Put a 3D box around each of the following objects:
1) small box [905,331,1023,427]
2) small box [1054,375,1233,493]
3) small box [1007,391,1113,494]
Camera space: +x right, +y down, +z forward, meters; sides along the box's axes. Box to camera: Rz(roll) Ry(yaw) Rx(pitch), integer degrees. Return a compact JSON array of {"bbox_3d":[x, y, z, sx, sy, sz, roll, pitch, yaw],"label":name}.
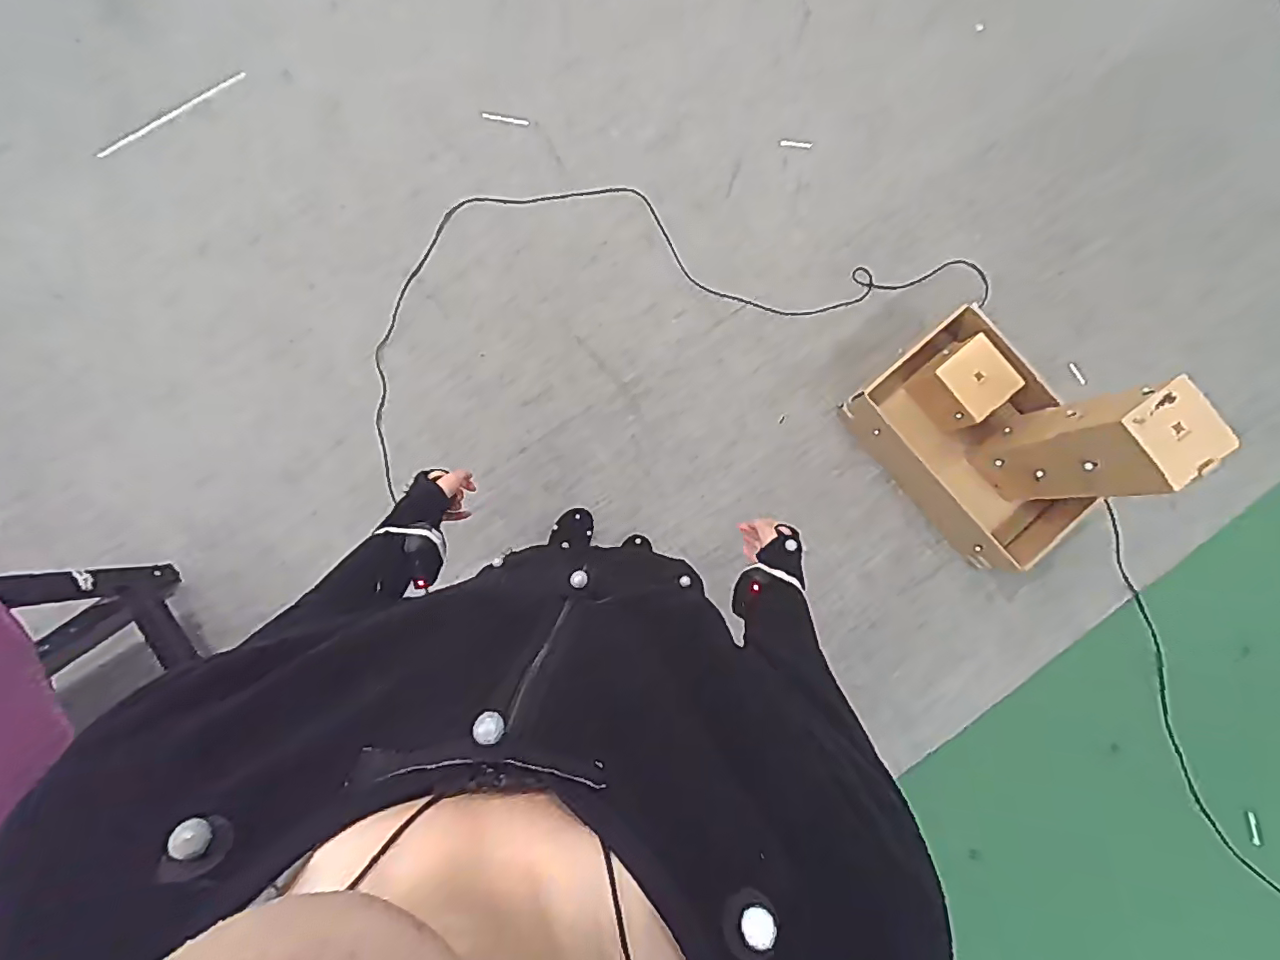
[{"bbox_3d":[0.862,-0.263,1.459,0.168,0.176,0.179,-39,89,-3],"label":"small box"},{"bbox_3d":[1.029,-0.087,1.121,0.168,0.176,0.179,-34,87,-4],"label":"small box"},{"bbox_3d":[1.036,-0.081,1.286,0.179,0.176,0.168,-38,87,-4],"label":"small box"}]
